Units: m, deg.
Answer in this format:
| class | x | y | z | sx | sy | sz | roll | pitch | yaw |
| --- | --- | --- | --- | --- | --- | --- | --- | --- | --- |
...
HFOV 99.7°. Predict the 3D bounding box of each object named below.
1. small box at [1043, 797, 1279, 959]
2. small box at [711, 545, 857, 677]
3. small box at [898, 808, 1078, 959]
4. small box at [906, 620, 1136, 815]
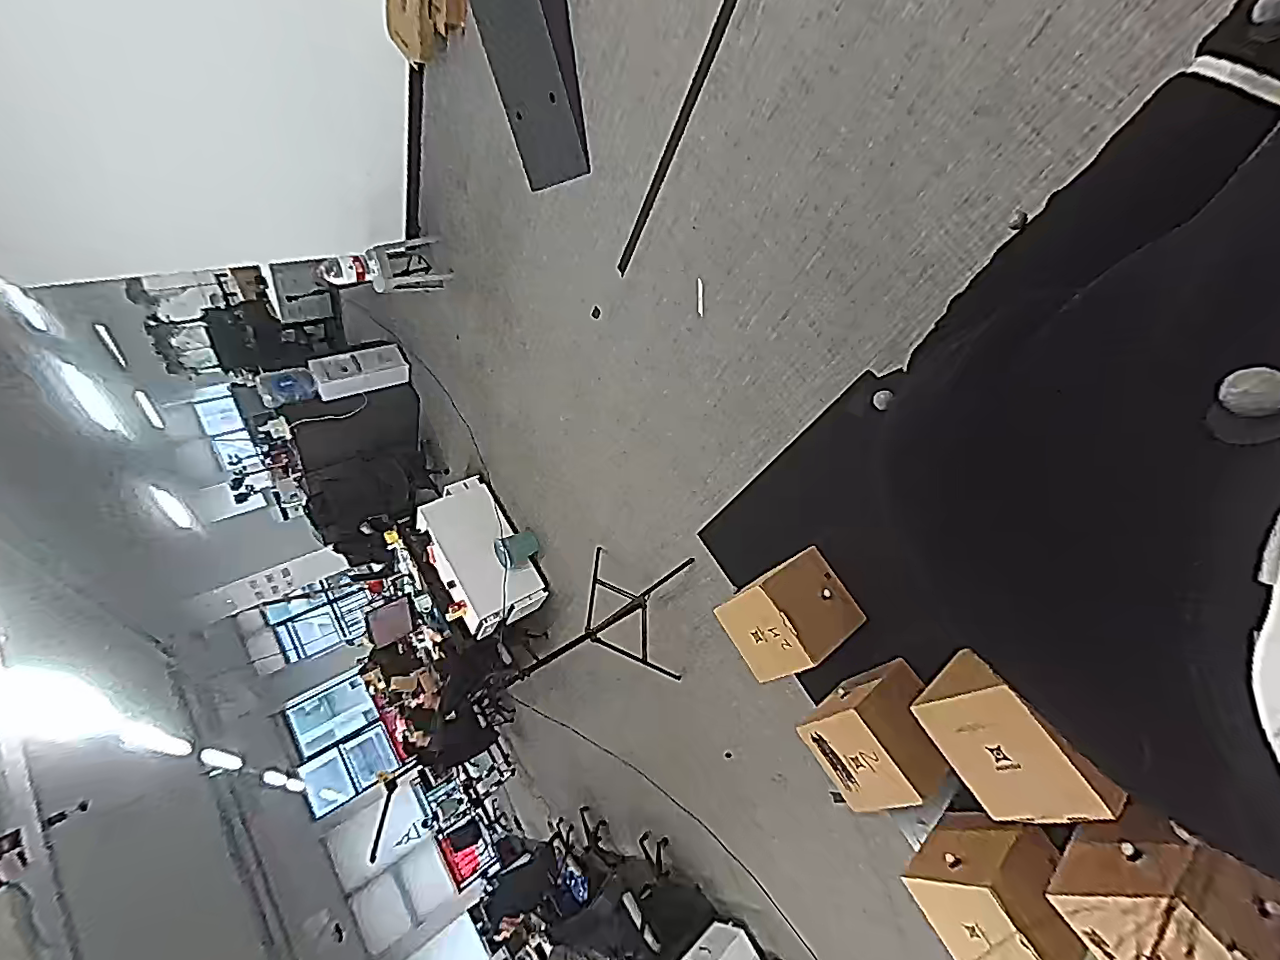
| class | x | y | z | sx | sy | sz | roll | pitch | yaw |
| --- | --- | --- | --- | --- | --- | --- | --- | --- | --- |
| small box | 0.664 | 0.526 | 0.671 | 0.168 | 0.176 | 0.179 | 52 | 144 | 20 |
| small box | 0.277 | 0.251 | 1.043 | 0.168 | 0.176 | 0.179 | 57 | 145 | 13 |
| small box | 0.575 | 0.668 | 0.884 | 0.168 | 0.176 | 0.179 | 57 | 145 | 14 |
| small box | 0.523 | 0.325 | 0.748 | 0.179 | 0.176 | 0.168 | 56 | 145 | 17 |
